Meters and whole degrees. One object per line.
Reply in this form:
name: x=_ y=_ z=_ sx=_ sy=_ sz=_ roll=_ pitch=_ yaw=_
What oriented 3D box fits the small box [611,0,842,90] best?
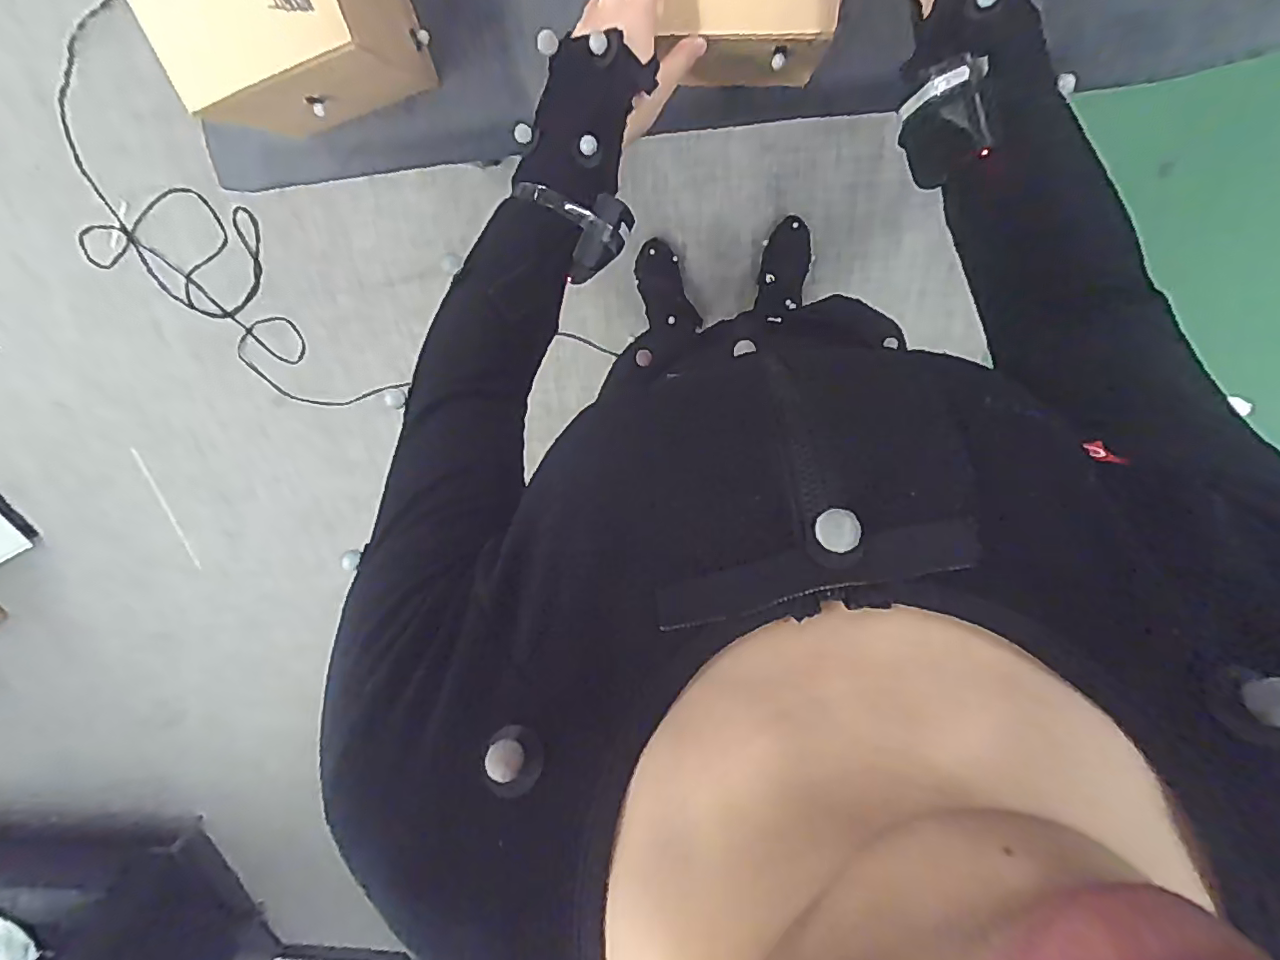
small box: x=0.075 y=-0.444 z=0.455 sx=0.179 sy=0.176 sz=0.168 roll=4 pitch=116 yaw=6

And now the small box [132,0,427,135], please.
small box: x=-0.324 y=-0.442 z=0.499 sx=0.179 sy=0.176 sz=0.168 roll=-12 pitch=115 yaw=13
